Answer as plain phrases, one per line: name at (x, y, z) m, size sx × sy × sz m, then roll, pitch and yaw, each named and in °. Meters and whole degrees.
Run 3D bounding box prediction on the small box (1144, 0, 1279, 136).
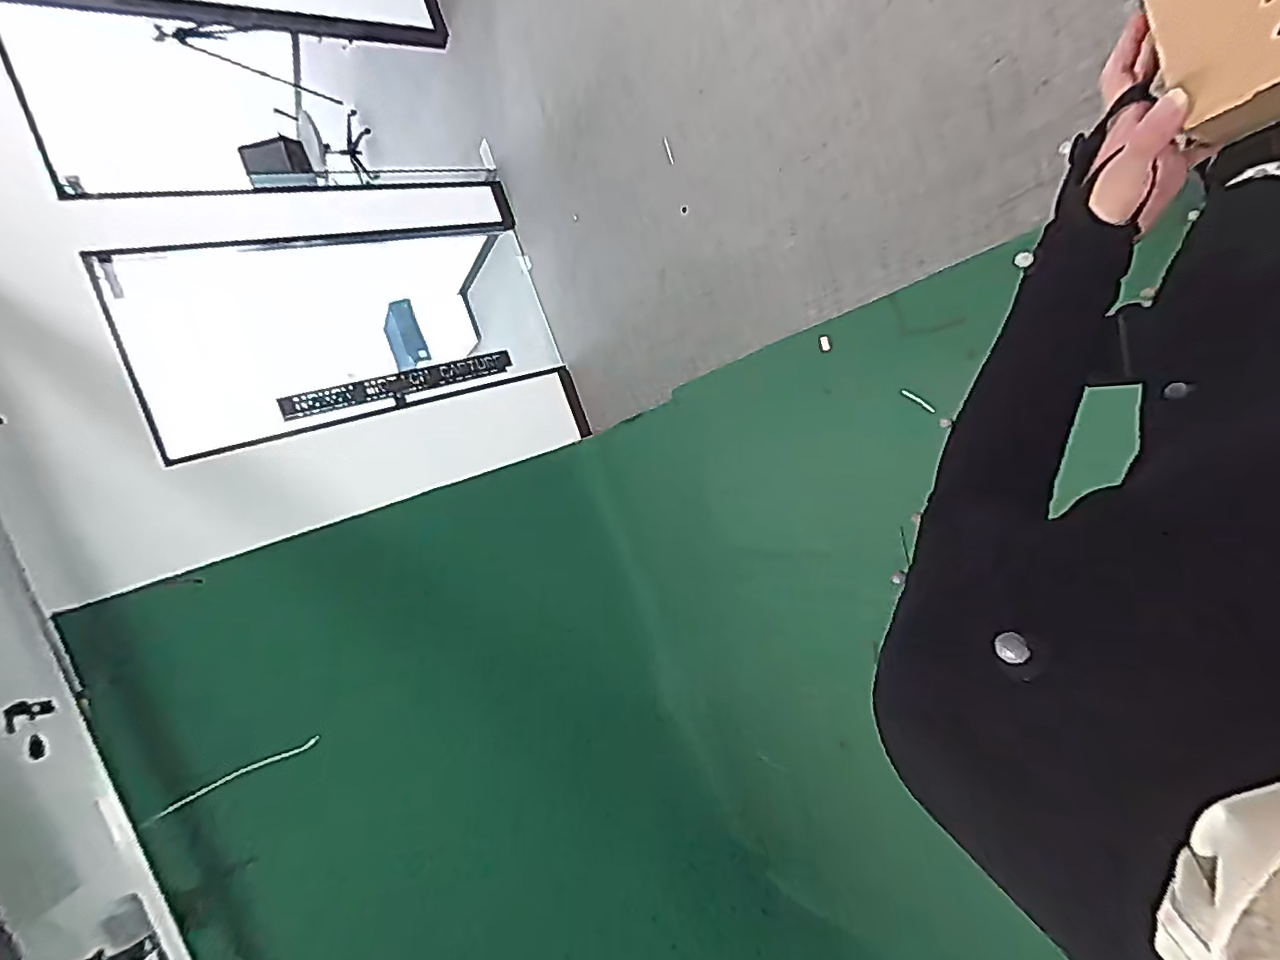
small box at (0.424, -0.342, 0.324) m, size 0.168 × 0.176 × 0.179 m, roll -13°, pitch 97°, yaw 54°
